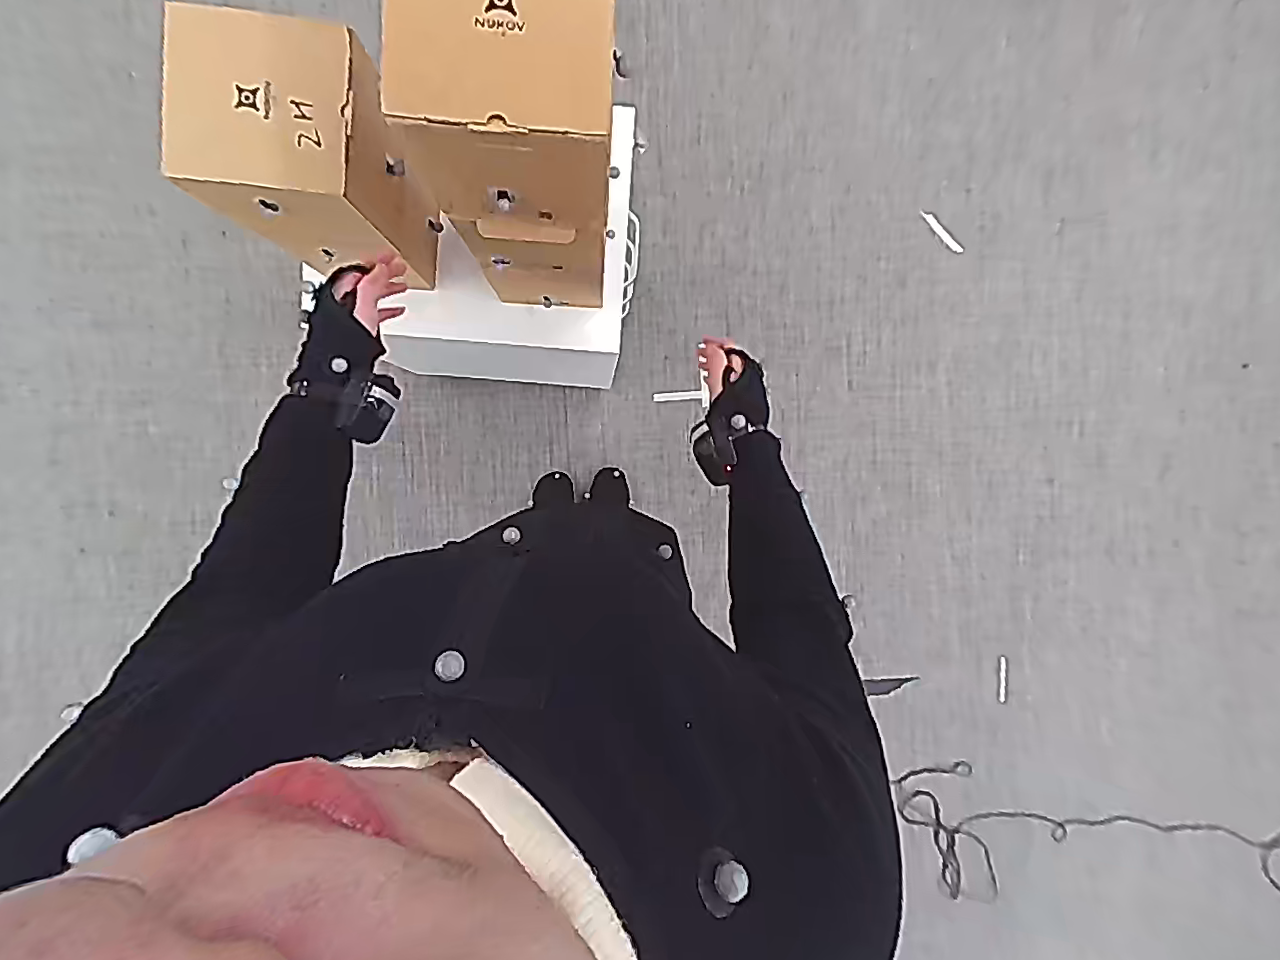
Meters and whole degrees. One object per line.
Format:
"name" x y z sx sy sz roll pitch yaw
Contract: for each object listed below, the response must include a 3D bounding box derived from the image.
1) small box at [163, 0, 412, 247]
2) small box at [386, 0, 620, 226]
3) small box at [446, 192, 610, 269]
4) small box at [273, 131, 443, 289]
"small box" -0.378 -0.378 0.607 0.179 0.176 0.168 4 94 -5
"small box" -0.104 -0.348 0.468 0.168 0.176 0.179 2 94 -5
"small box" -0.118 -0.361 0.630 0.168 0.176 0.179 2 93 -4
"small box" -0.390 -0.392 0.771 0.168 0.176 0.179 5 93 -4
